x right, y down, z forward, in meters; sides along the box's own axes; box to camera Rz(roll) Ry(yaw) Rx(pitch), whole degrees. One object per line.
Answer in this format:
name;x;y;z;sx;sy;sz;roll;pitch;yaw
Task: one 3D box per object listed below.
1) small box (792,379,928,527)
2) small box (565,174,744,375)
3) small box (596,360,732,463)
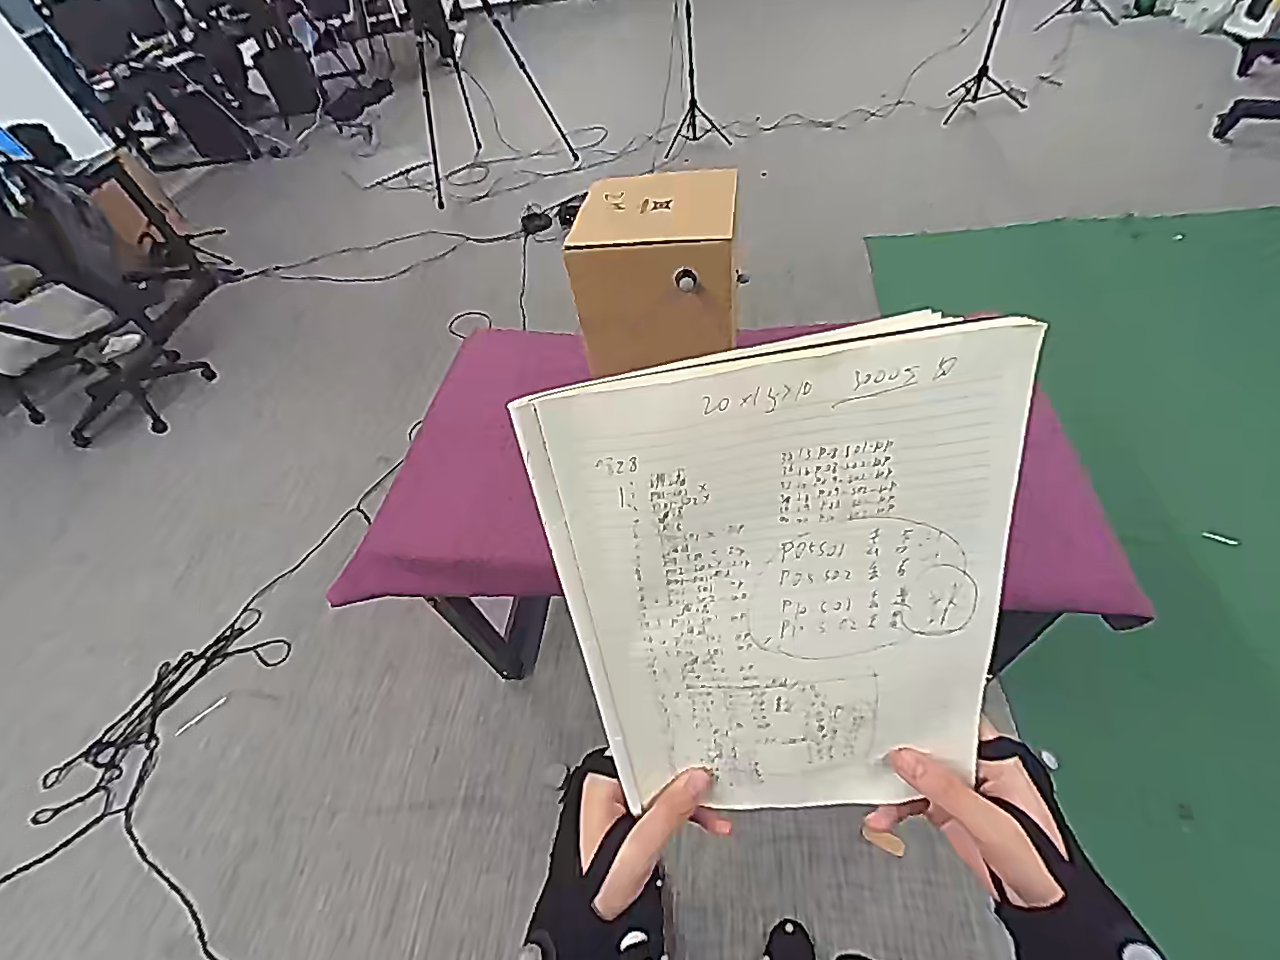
small box;0.335;-0.039;0.859;0.168;0.176;0.179;1;50;10
small box;0.031;-0.239;0.647;0.179;0.176;0.168;2;50;12
small box;0.045;-0.139;0.777;0.168;0.176;0.179;1;50;11
